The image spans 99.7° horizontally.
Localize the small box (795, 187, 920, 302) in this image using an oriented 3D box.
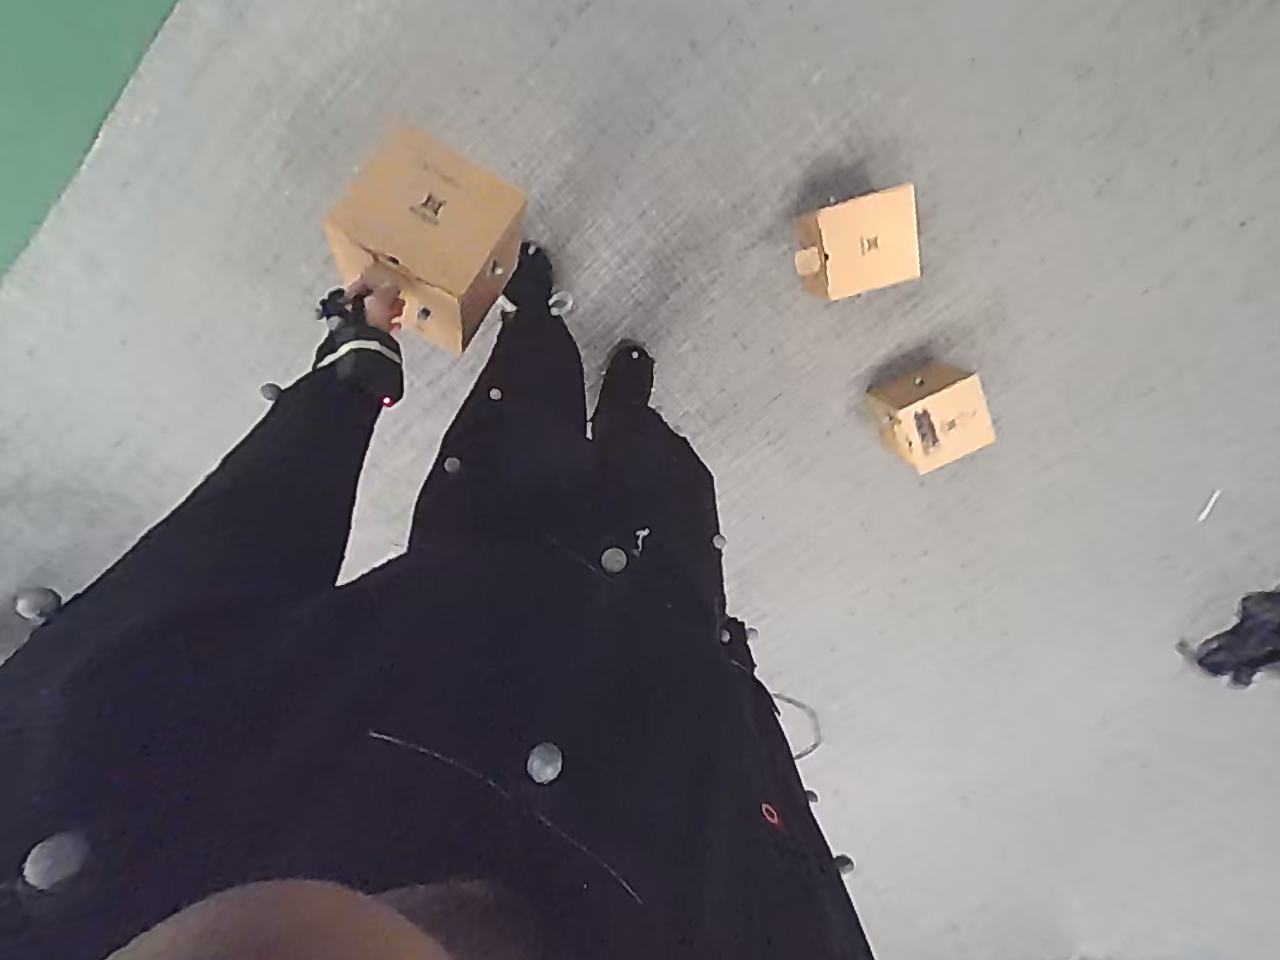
[{"bbox_3d":[0.426,-0.465,1.074,0.179,0.176,0.168,-14,112,6],"label":"small box"}]
